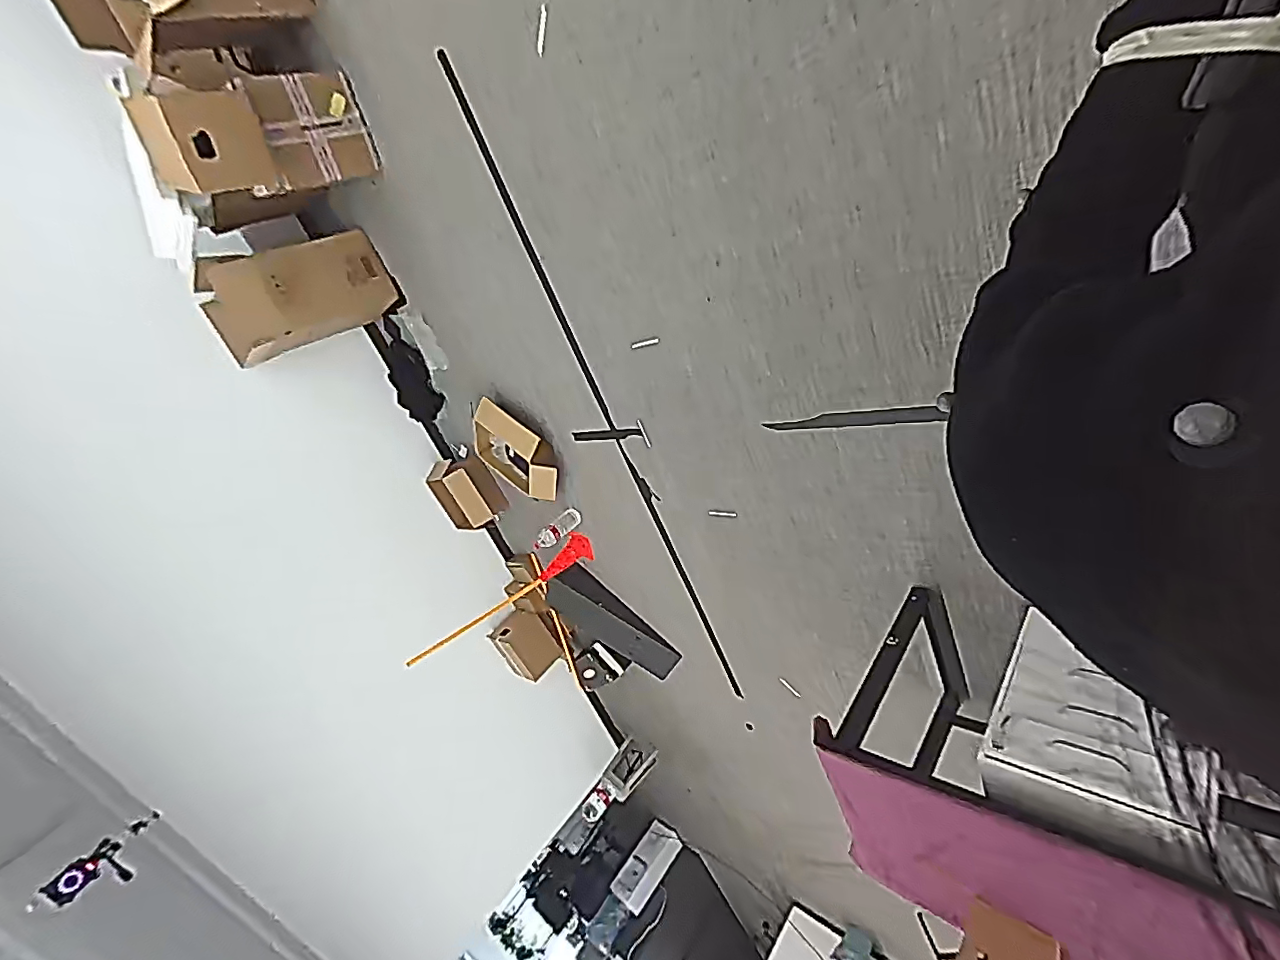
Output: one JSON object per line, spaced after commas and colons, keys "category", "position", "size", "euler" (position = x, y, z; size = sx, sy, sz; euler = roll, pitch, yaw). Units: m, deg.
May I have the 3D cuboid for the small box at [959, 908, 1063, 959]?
{"category": "small box", "position": [0.886, 1.178, 1.291], "size": [0.179, 0.176, 0.168], "euler": [5, 125, 46]}
